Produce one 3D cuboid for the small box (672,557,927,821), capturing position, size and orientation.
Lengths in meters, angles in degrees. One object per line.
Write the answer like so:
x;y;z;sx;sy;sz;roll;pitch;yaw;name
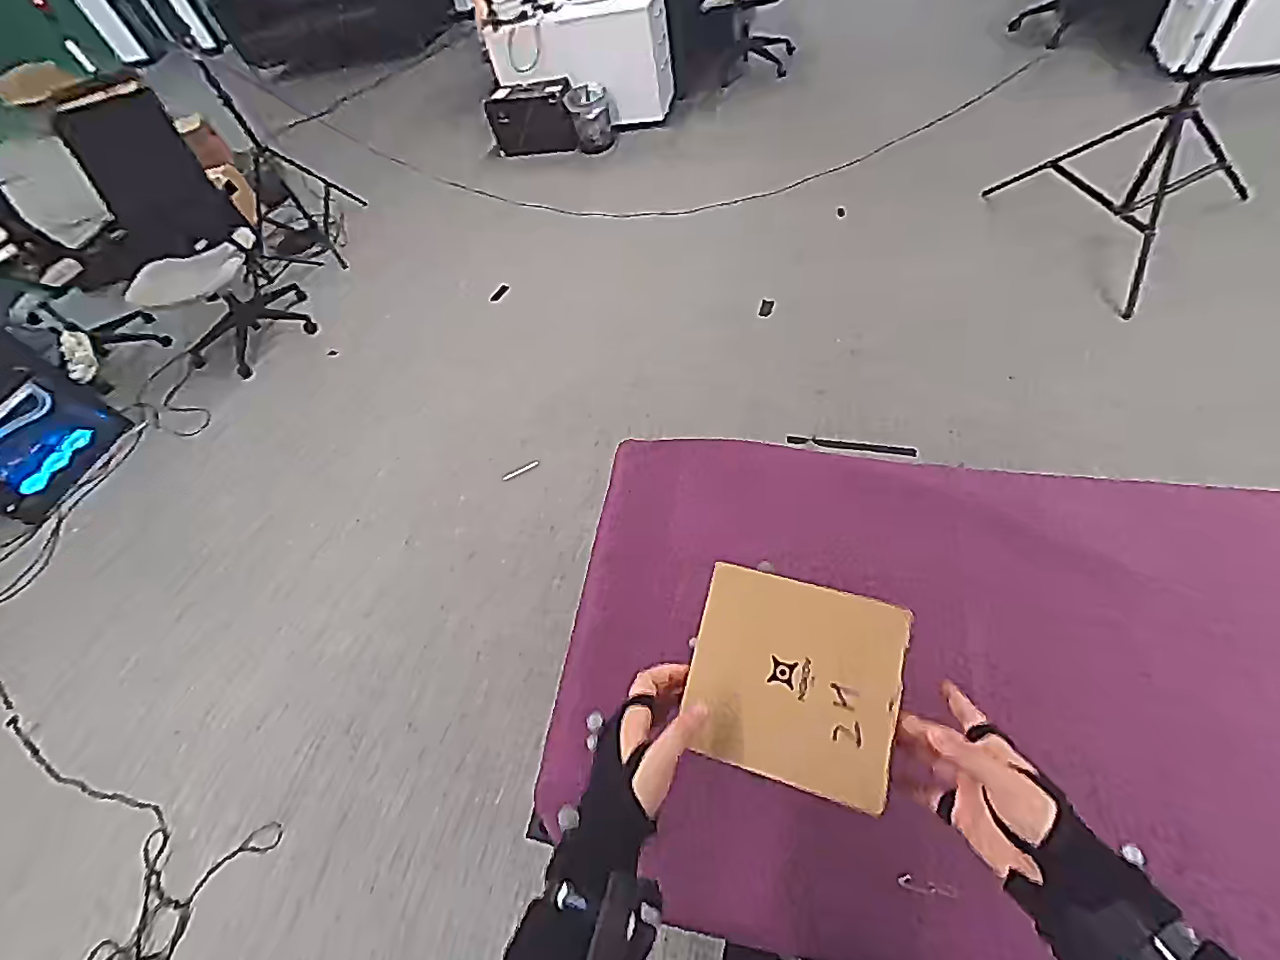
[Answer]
0.151;0.194;0.533;0.179;0.176;0.168;17;76;17;small box
